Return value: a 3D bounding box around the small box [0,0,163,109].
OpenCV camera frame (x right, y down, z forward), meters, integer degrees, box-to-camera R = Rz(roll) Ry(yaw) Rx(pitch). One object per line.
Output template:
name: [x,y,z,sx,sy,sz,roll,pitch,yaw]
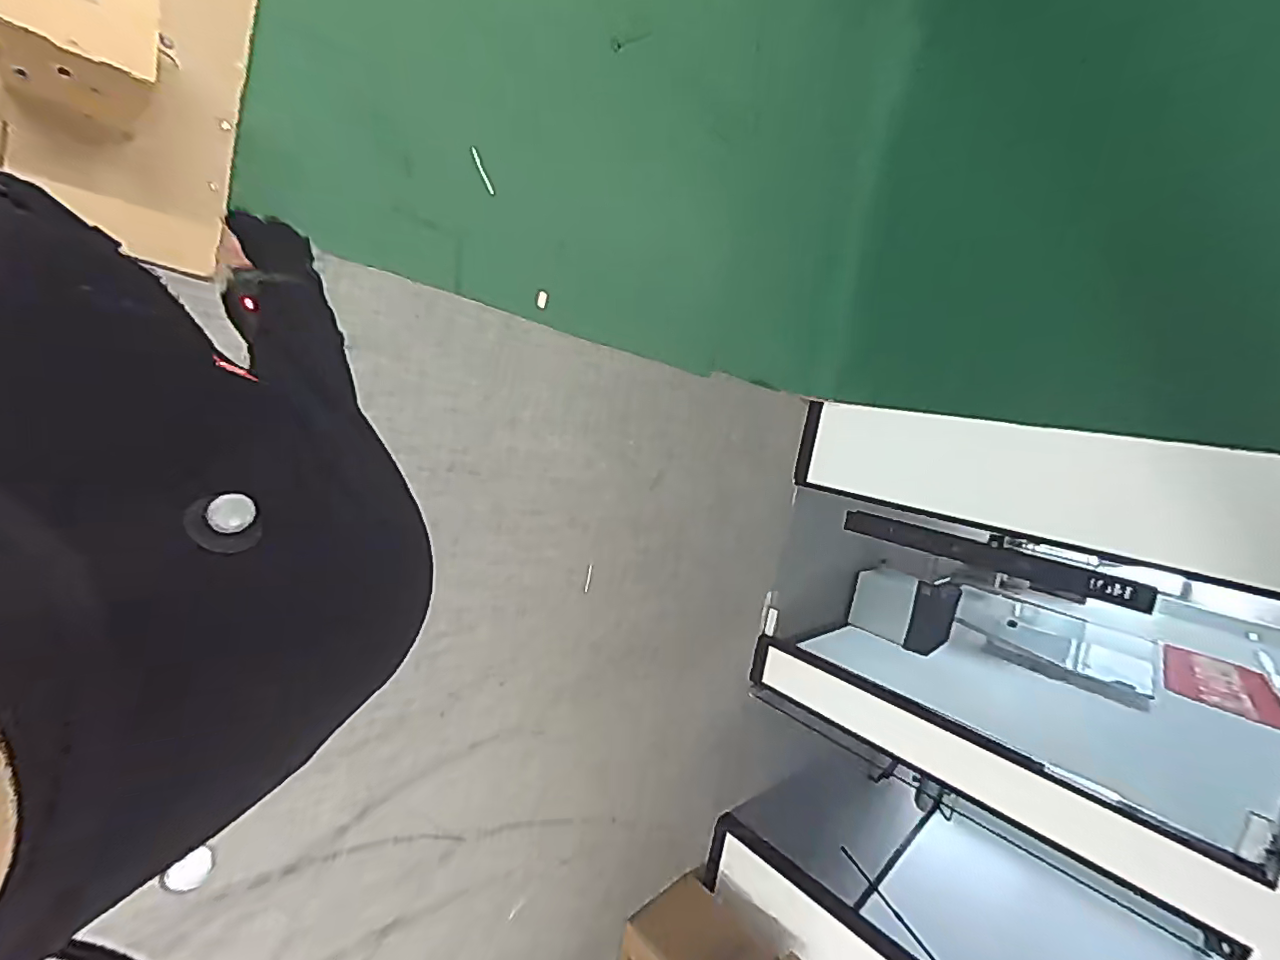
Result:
small box: [-0.803,-0.680,0.773,0.168,0.176,0.179,3,100,-46]
